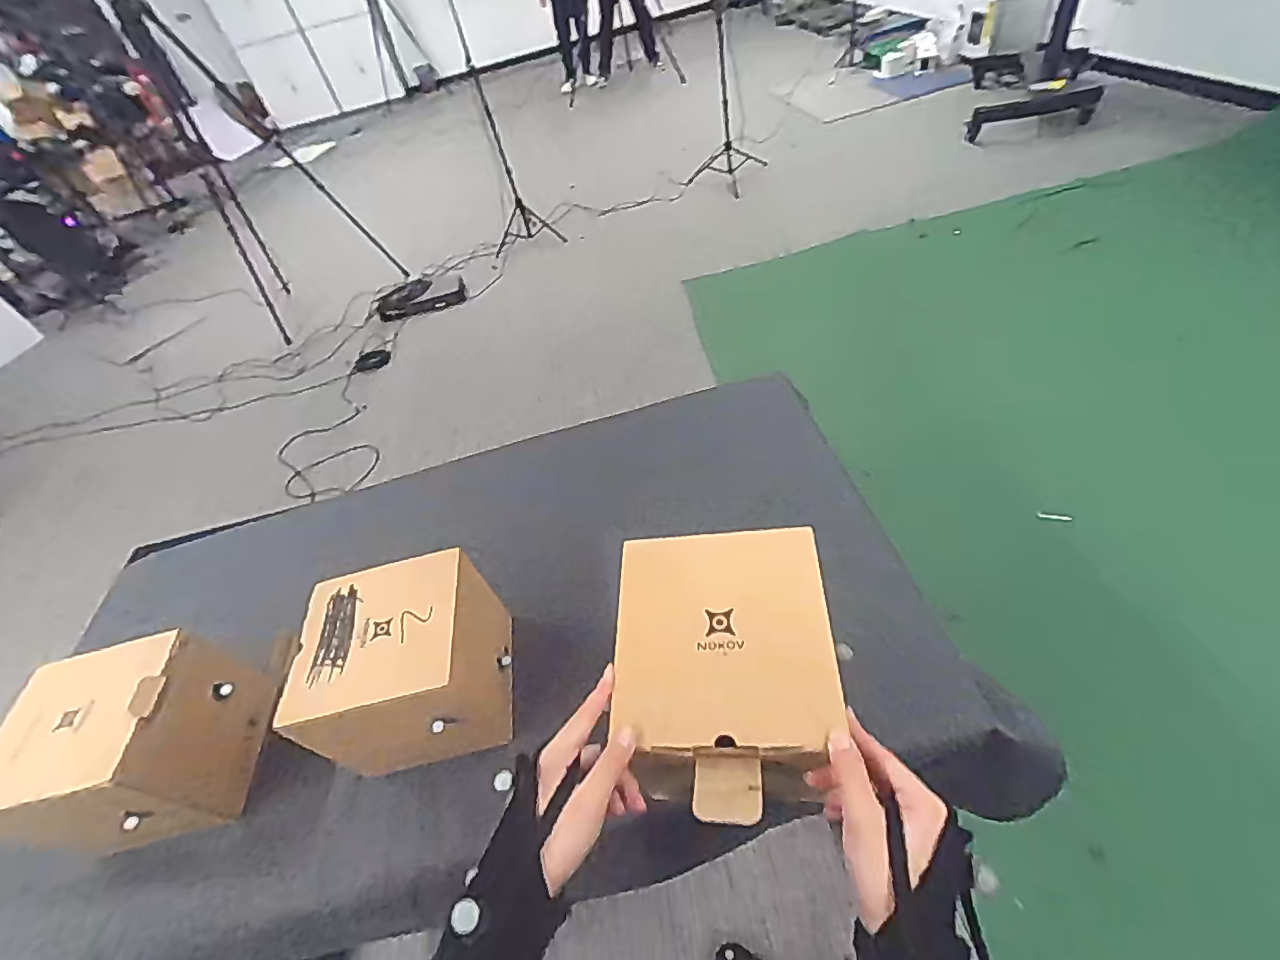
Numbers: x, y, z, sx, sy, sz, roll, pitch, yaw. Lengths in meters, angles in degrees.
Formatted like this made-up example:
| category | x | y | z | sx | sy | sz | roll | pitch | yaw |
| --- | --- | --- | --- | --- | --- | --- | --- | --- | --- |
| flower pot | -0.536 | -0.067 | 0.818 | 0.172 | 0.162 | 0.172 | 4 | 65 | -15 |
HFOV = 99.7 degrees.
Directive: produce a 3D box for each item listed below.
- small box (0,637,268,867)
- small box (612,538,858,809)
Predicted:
| category | x | y | z | sx | sy | sz | roll | pitch | yaw |
| --- | --- | --- | --- | --- | --- | --- | --- | --- | --- |
| small box | -0.570 | 0.307 | 0.608 | 0.179 | 0.176 | 0.168 | -16 | 44 | 1 |
| small box | 0.080 | 0.171 | 0.473 | 0.168 | 0.176 | 0.179 | -5 | 51 | 11 |
